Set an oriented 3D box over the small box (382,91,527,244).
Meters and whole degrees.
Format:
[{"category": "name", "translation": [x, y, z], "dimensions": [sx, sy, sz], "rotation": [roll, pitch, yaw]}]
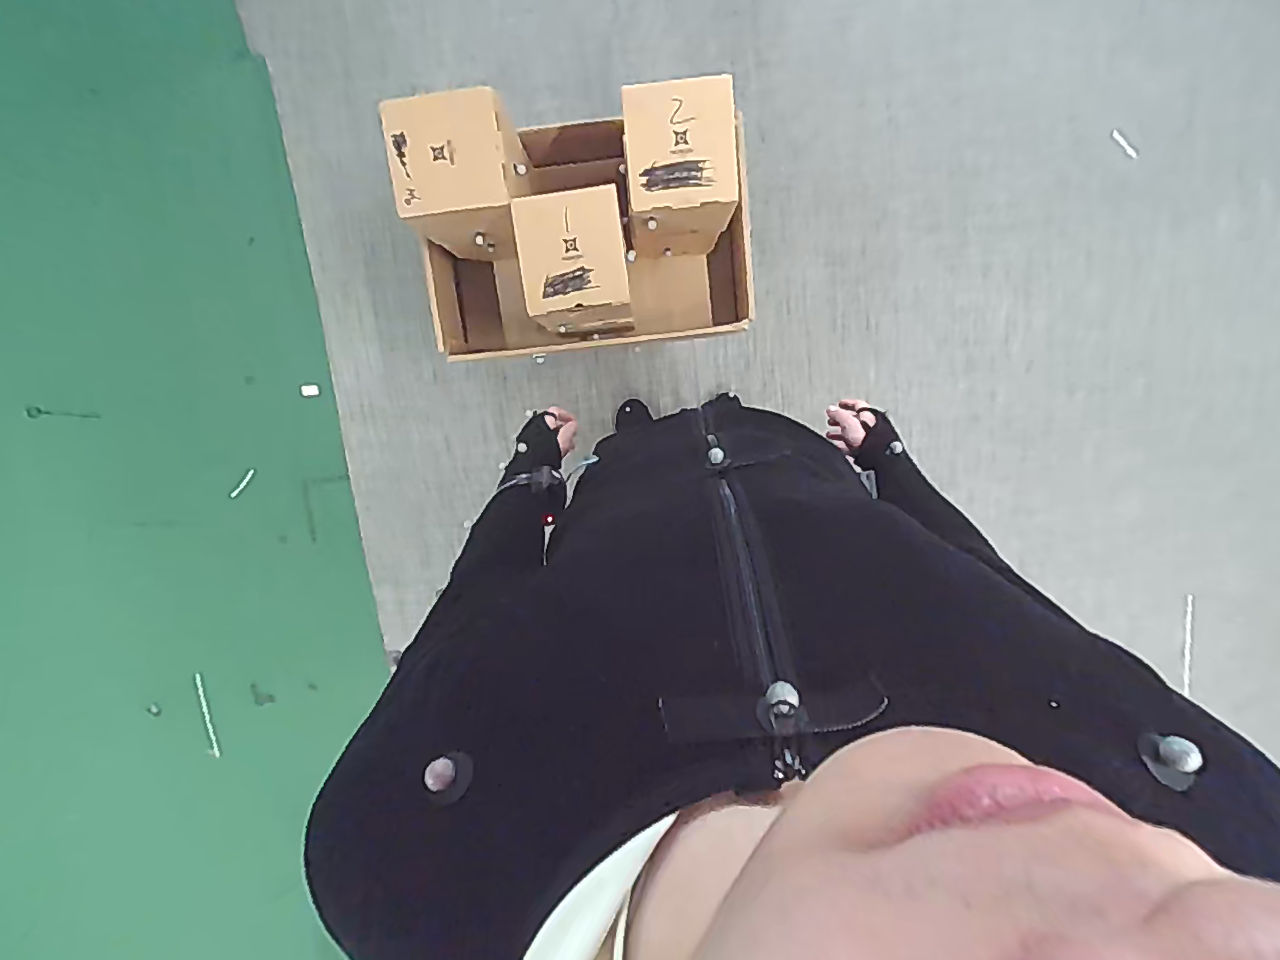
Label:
[{"category": "small box", "translation": [-0.290, -0.502, 0.892], "dimensions": [0.179, 0.176, 0.168], "rotation": [-6, 99, 1]}]
